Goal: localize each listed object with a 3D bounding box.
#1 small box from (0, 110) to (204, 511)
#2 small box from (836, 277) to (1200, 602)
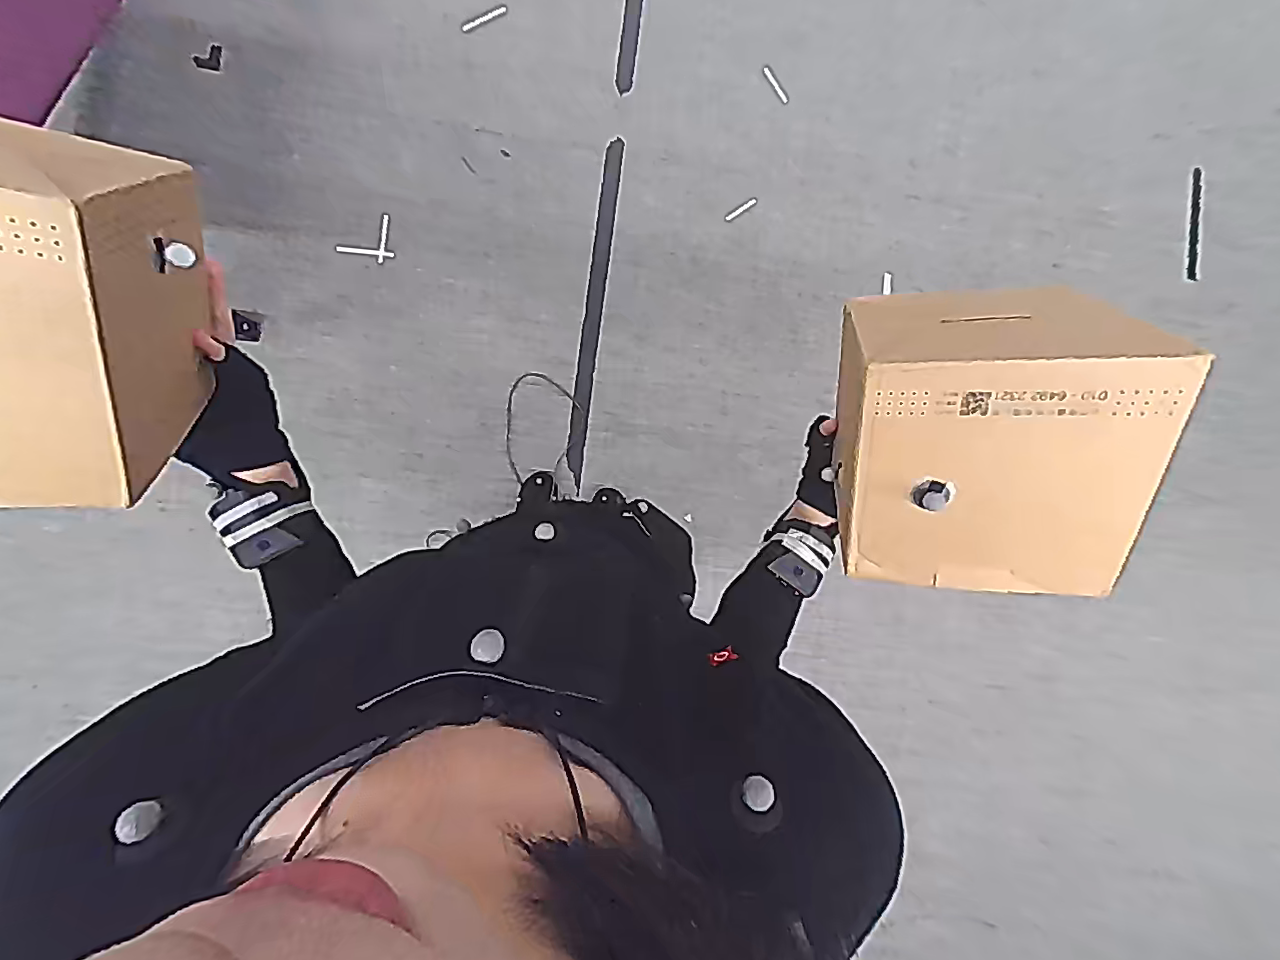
[{"bbox_3d":[-0.363,-0.101,0.288,0.168,0.179,0.176,4,120,-26],"label":"small box"},{"bbox_3d":[0.239,-0.039,0.392,0.168,0.179,0.176,3,122,15],"label":"small box"}]
